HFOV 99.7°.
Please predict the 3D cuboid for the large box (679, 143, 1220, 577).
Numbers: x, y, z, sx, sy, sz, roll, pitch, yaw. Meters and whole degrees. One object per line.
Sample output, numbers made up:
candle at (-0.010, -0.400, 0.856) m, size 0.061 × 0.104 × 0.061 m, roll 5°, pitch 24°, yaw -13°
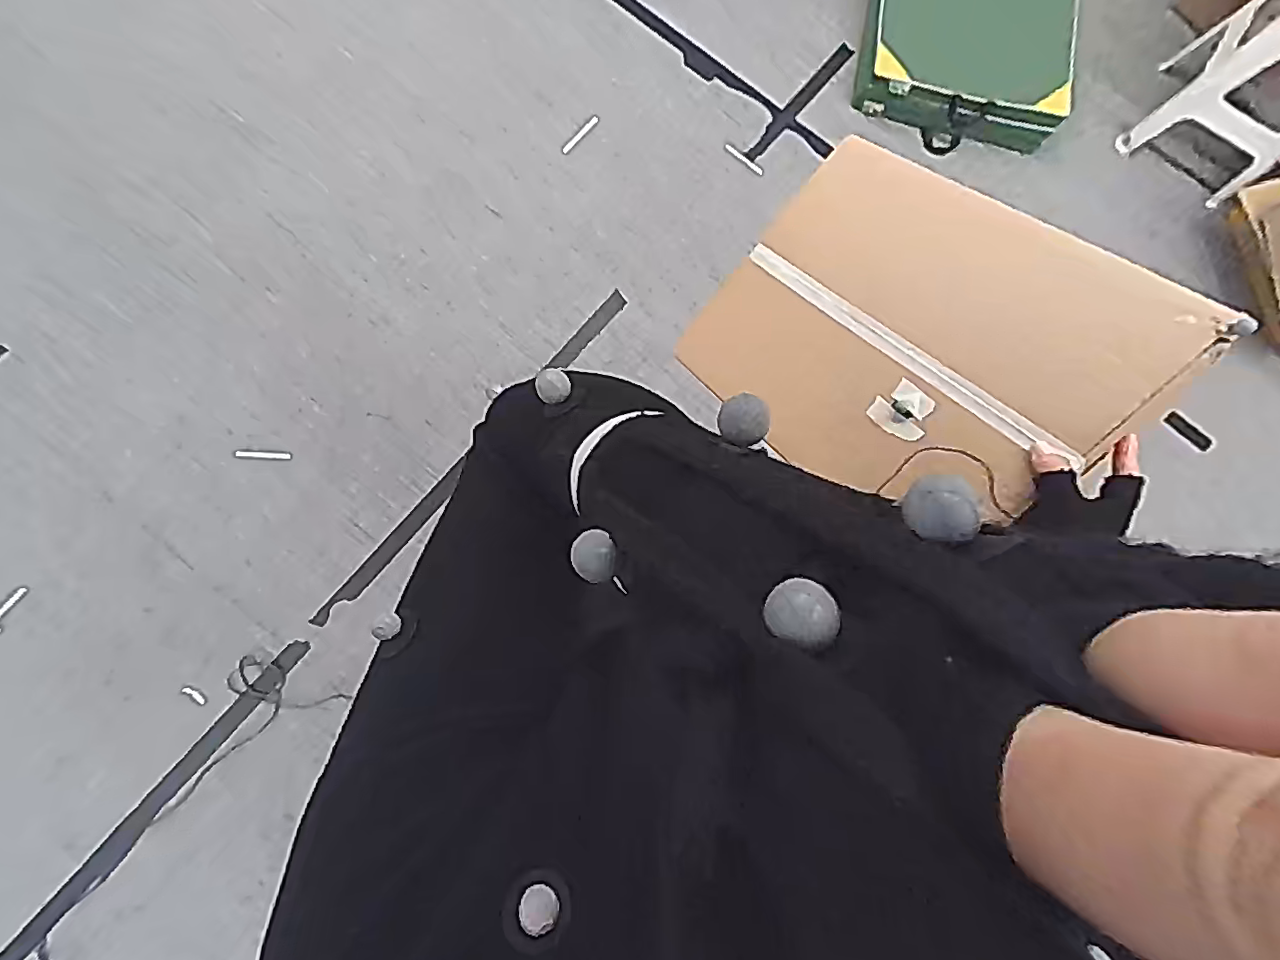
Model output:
large box at (0.333, -0.126, 0.688) m, size 0.320 × 0.320 × 0.408 m, roll -49°, pitch 60°, yaw 17°
